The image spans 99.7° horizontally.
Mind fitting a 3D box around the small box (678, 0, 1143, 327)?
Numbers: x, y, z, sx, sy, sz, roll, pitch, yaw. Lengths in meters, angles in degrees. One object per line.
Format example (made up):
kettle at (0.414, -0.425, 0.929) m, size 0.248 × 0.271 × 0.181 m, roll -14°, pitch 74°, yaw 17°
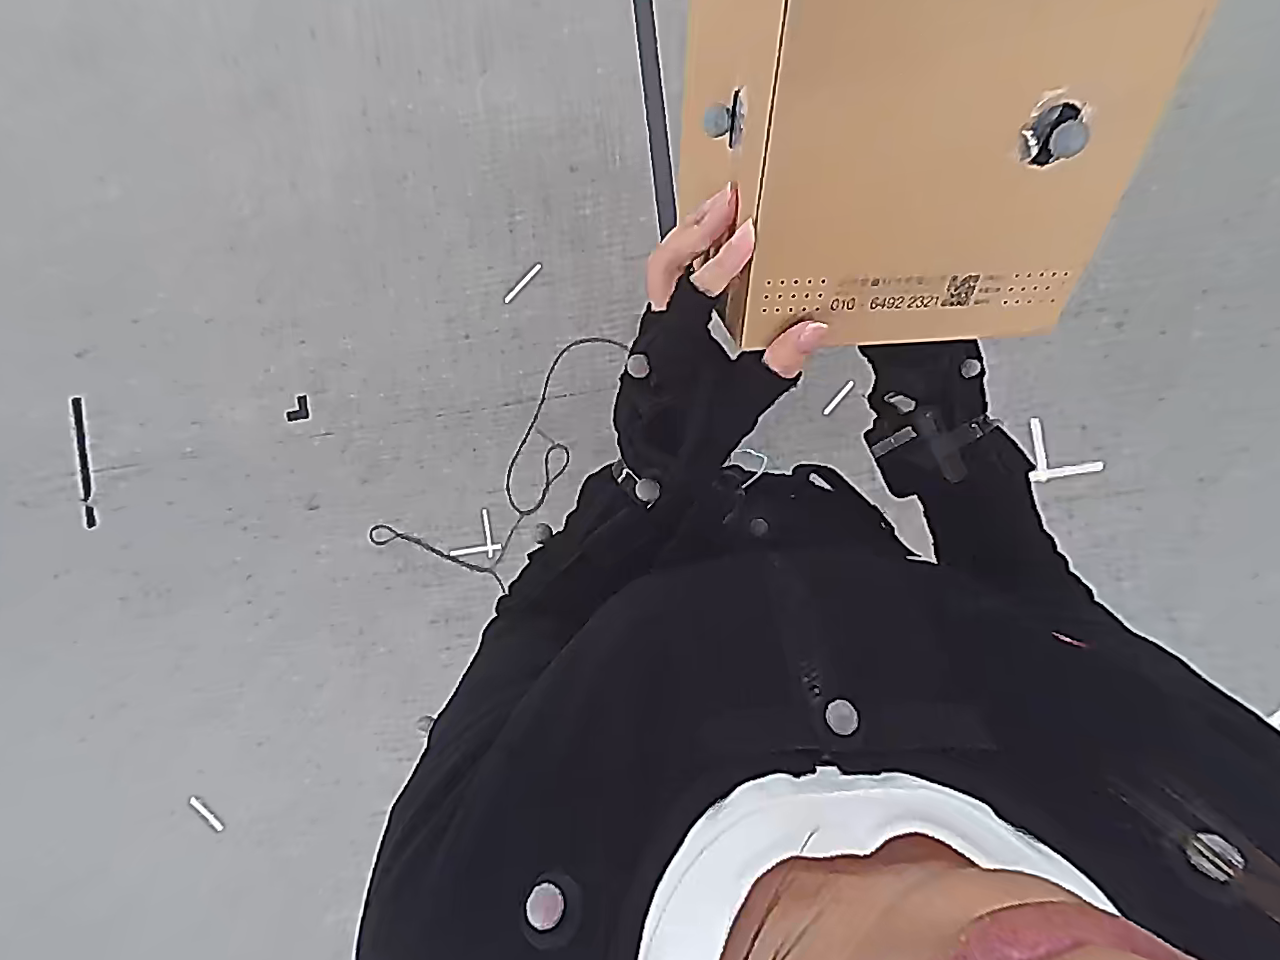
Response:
small box at (0.117, -0.194, 0.303) m, size 0.168 × 0.179 × 0.176 m, roll -3°, pitch 129°, yaw -6°
